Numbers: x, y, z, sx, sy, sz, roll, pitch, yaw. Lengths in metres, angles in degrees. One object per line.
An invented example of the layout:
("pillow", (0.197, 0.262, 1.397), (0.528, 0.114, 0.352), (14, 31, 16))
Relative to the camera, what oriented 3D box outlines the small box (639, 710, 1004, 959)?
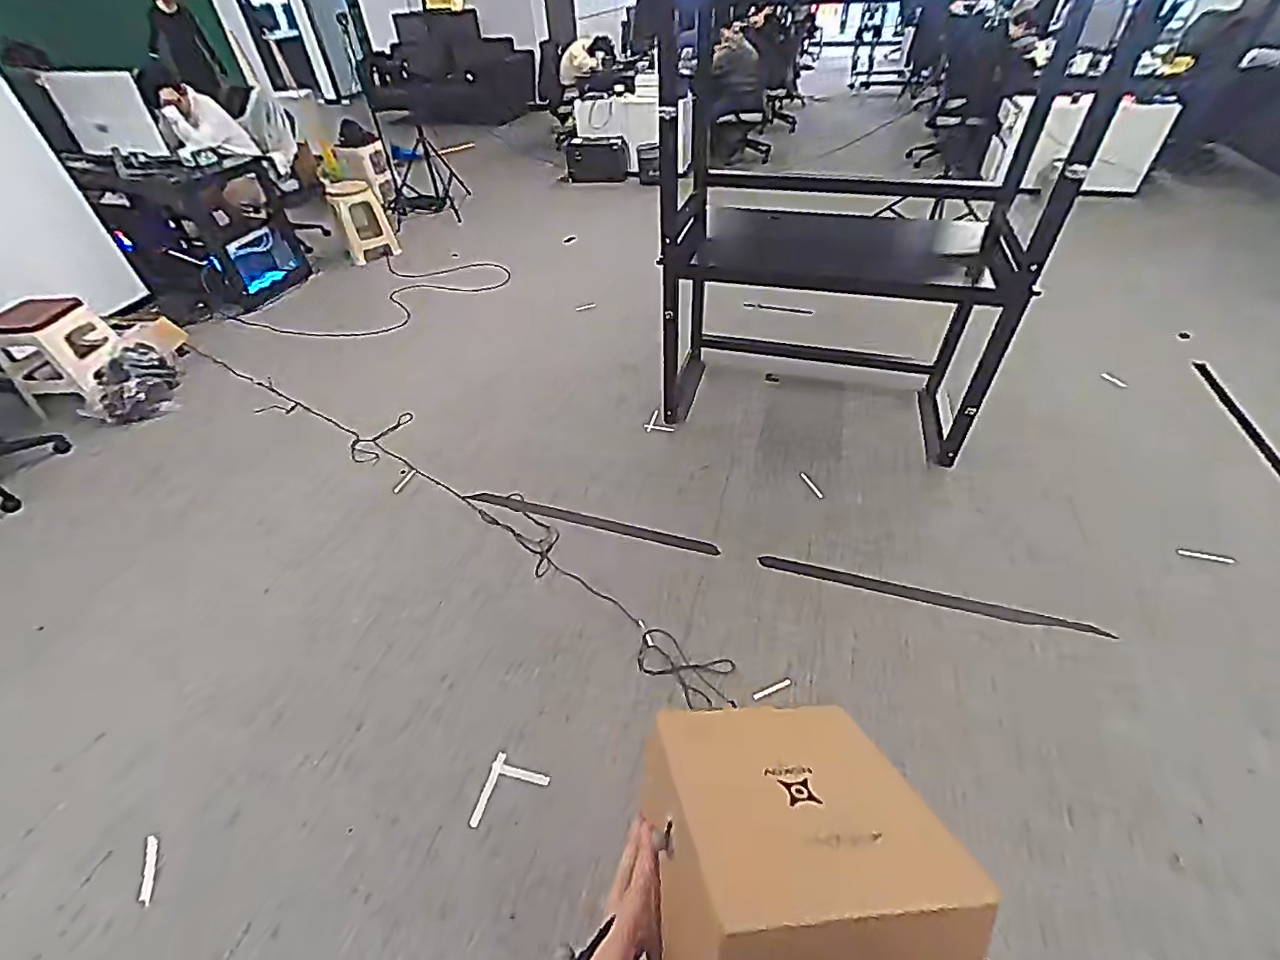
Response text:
("small box", (0.098, 0.287, 0.377), (0.168, 0.176, 0.179), (3, 13, -11))
